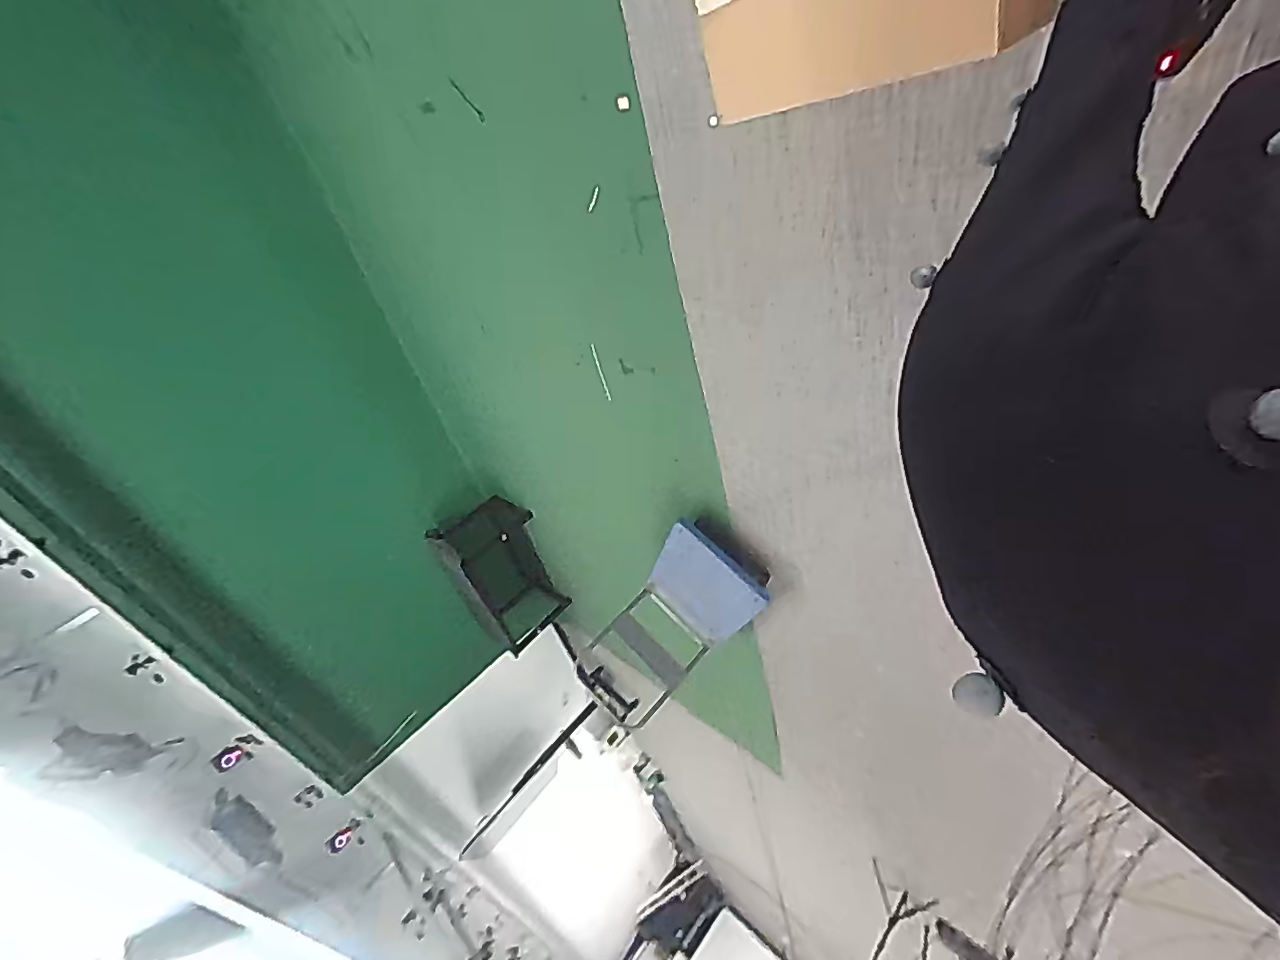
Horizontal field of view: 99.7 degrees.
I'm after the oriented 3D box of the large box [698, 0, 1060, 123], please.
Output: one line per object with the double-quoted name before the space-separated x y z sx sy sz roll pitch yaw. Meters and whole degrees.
"large box" 0.324 -0.743 0.729 0.408 0.320 0.320 22 143 44
